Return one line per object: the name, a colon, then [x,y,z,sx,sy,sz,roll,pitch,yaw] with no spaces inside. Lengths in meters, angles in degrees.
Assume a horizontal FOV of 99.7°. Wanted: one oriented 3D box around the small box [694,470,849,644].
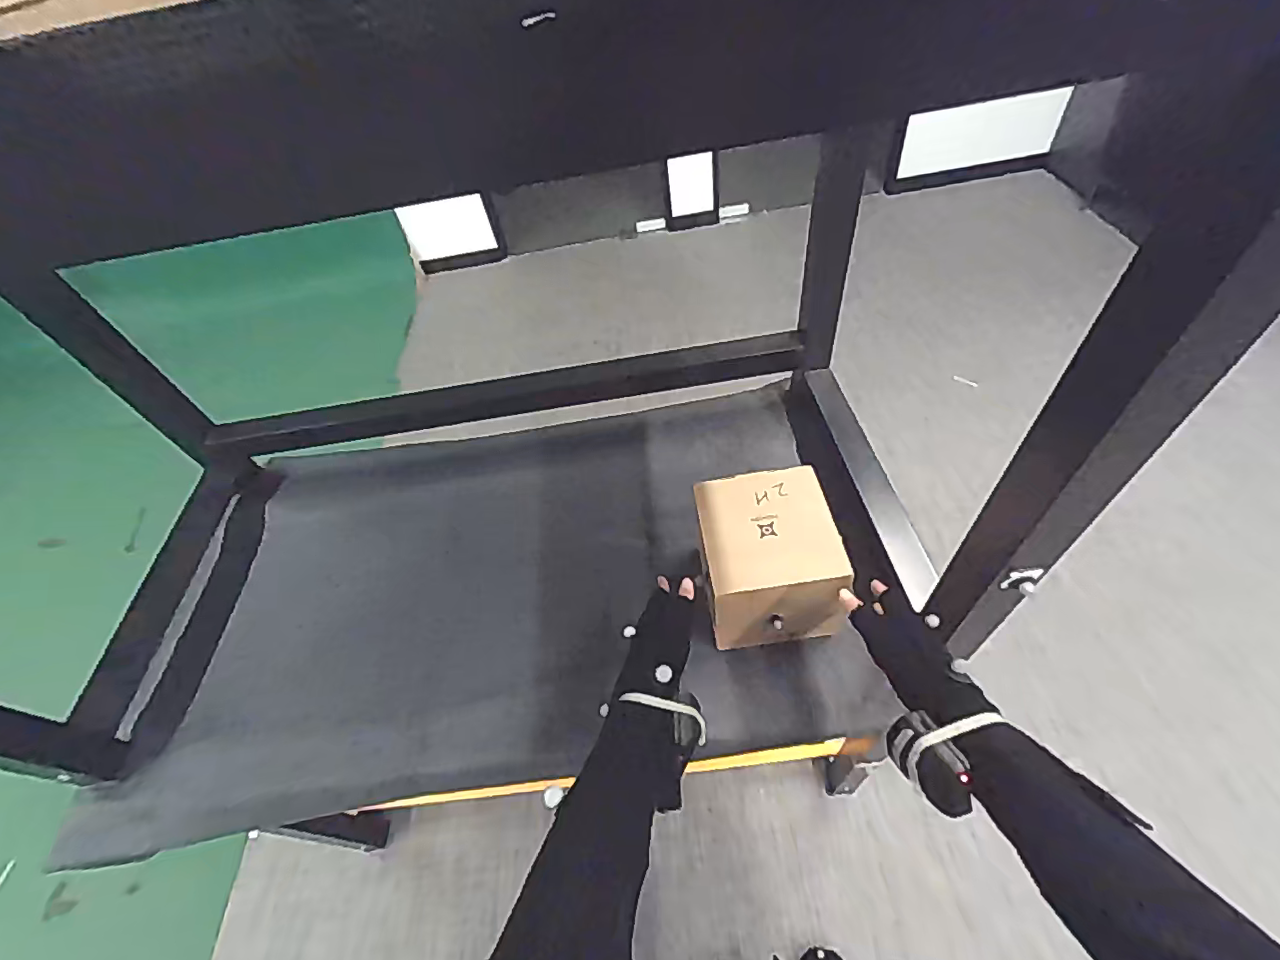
small box: [0.171,0.114,0.749,0.168,0.176,0.179,-8,49,3]
